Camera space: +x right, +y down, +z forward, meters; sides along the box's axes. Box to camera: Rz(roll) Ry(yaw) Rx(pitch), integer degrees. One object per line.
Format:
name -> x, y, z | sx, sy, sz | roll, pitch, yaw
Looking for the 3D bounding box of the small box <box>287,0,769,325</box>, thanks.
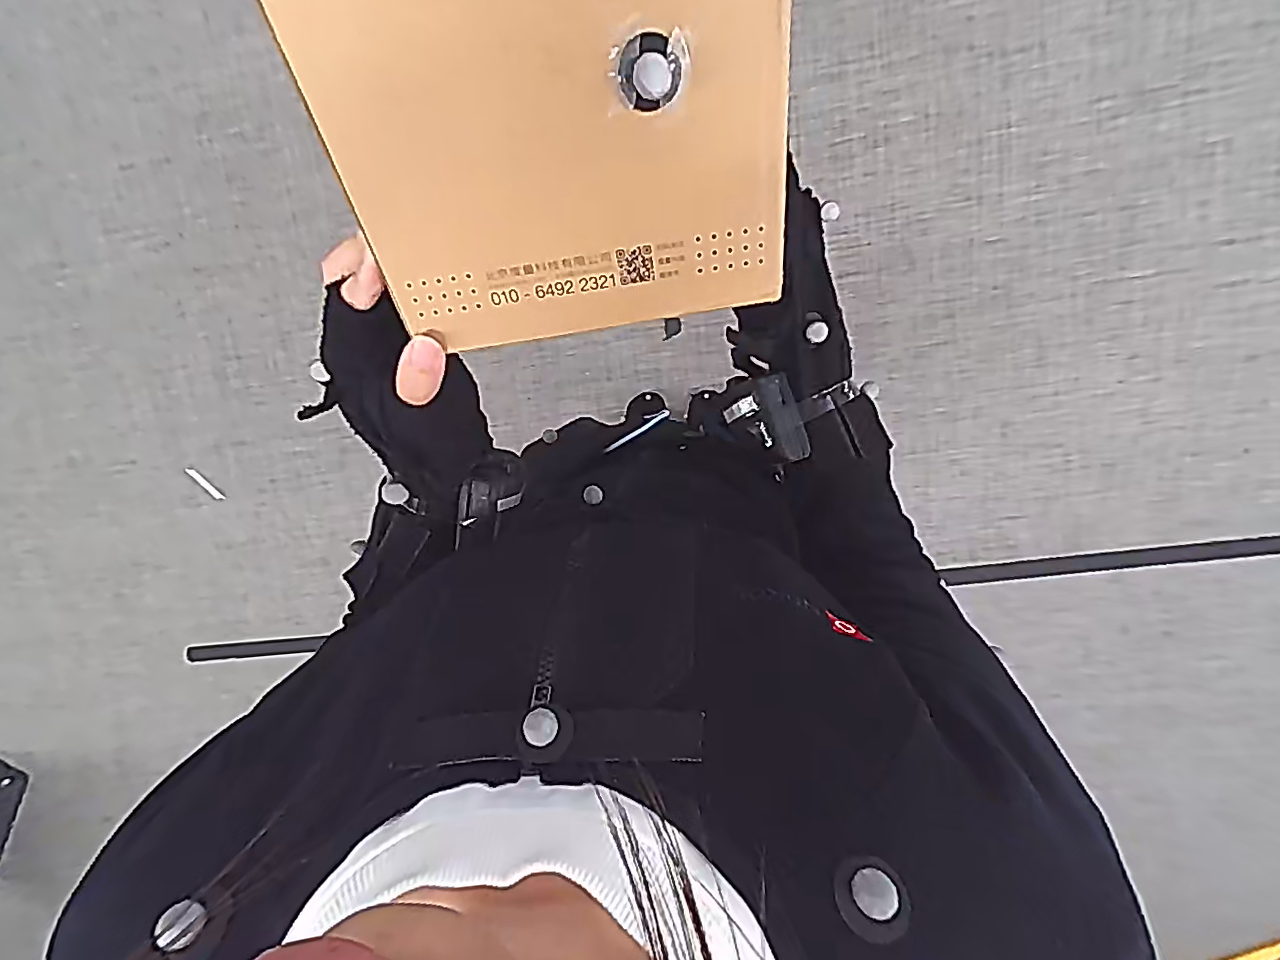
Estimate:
small box -> -0.032, -0.188, 0.270 | 0.168, 0.179, 0.176 | -7, 130, 4
